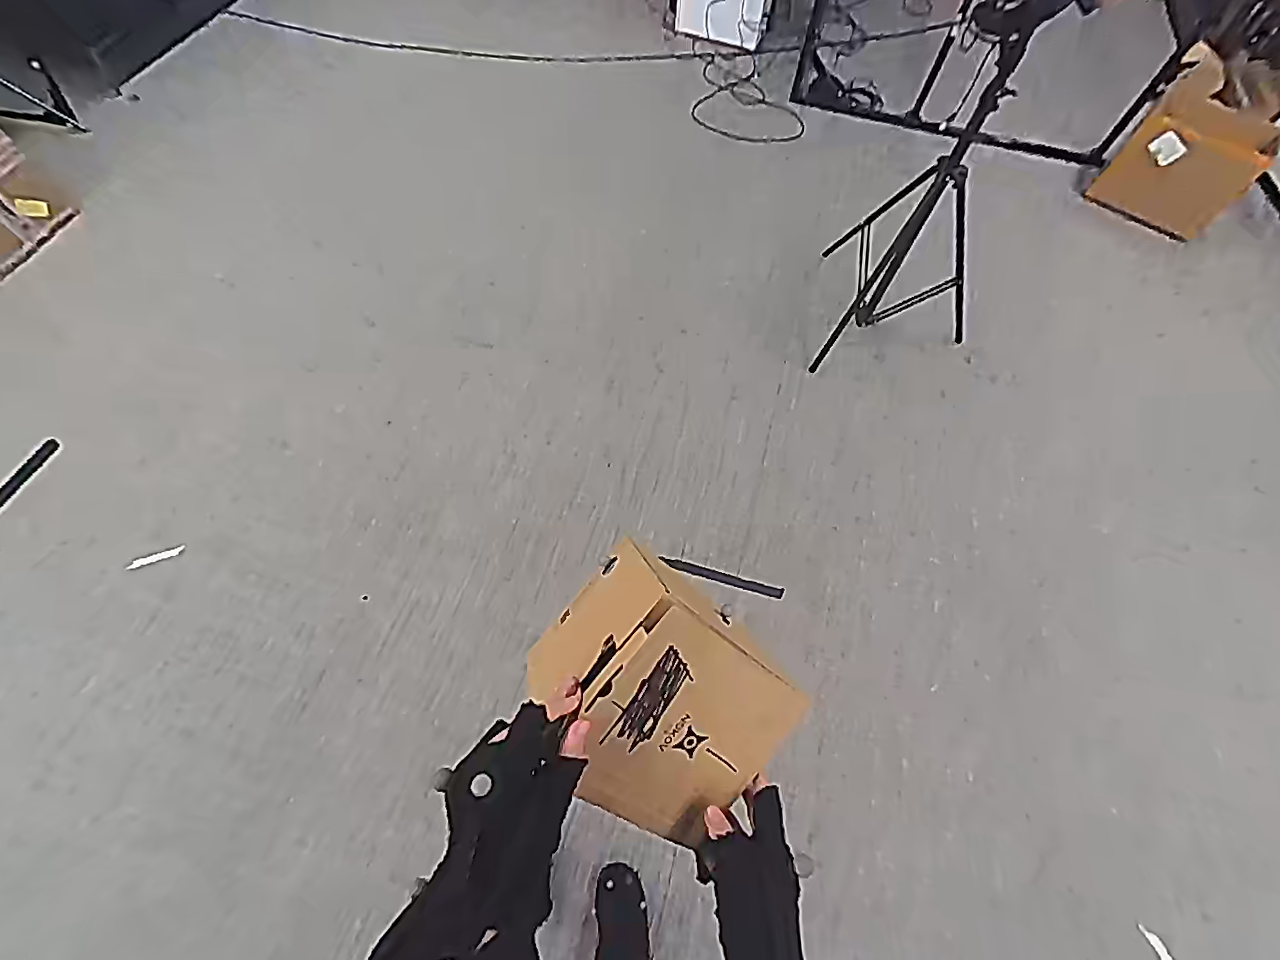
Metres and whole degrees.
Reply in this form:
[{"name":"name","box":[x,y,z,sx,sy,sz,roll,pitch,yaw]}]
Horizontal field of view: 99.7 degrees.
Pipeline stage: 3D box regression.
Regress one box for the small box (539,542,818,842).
[{"name":"small box","box":[0.020,0.178,0.509,0.179,0.176,0.168,40,90,-17]}]
